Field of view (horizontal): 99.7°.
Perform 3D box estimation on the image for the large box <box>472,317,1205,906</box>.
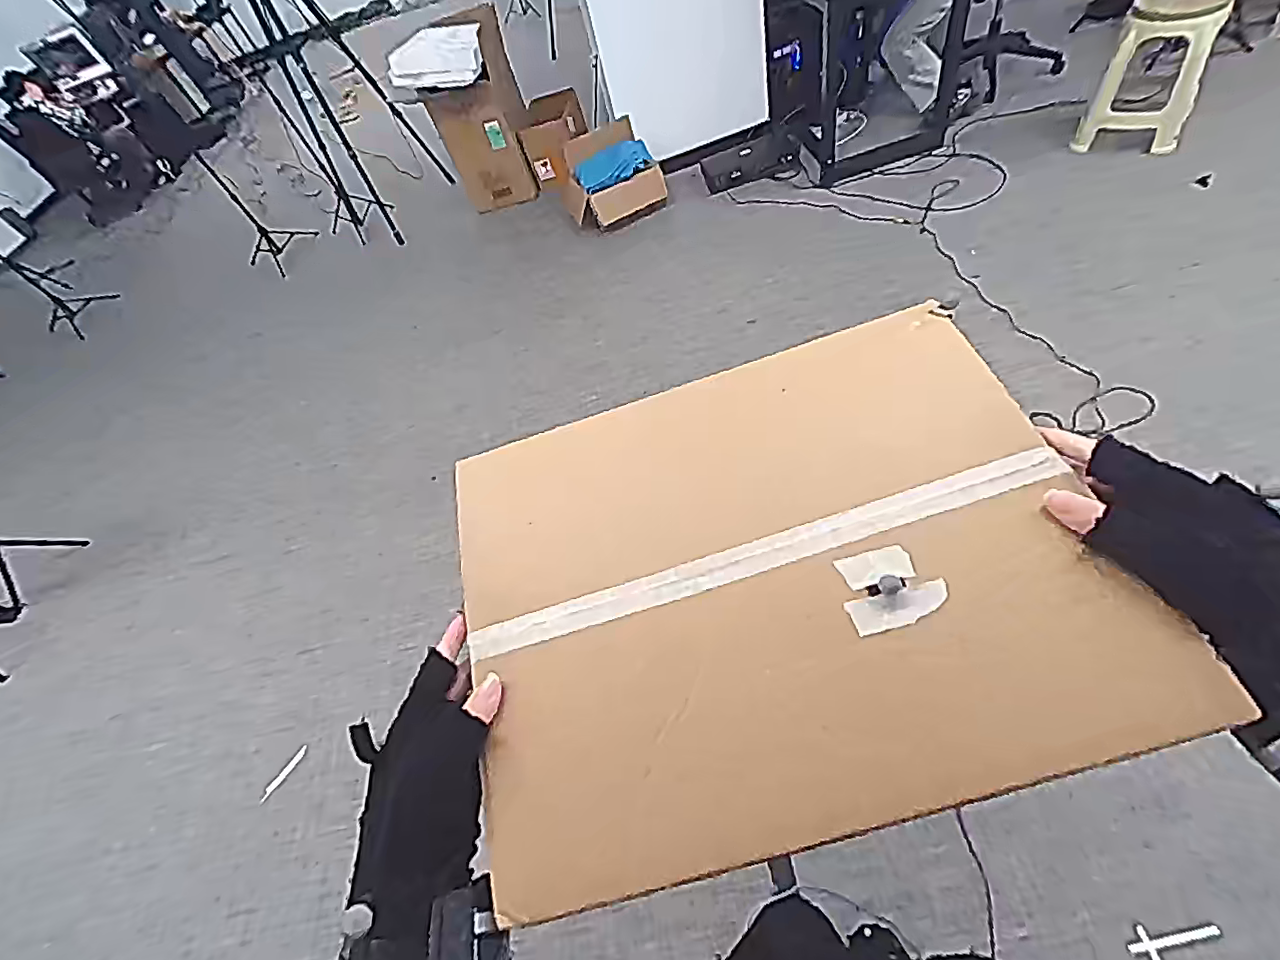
[{"bbox_3d":[0.110,0.124,0.501,0.408,0.320,0.320,-18,60,3],"label":"large box"}]
